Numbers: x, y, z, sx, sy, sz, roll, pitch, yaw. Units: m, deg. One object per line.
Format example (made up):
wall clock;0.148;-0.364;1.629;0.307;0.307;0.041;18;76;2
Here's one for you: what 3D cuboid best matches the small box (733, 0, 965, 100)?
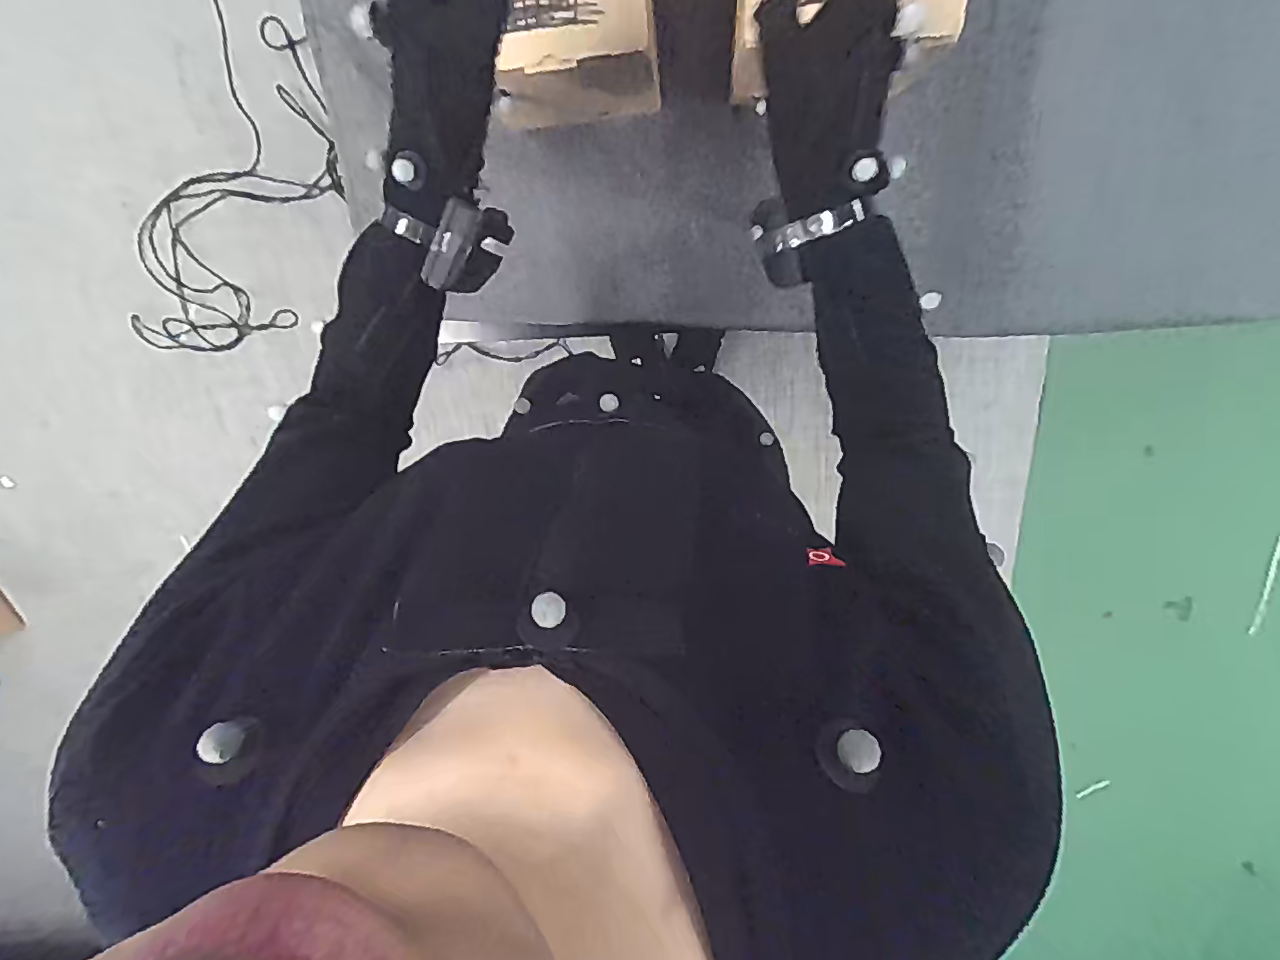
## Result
small box;0.172;-0.447;0.463;0.168;0.176;0.179;3;111;5
